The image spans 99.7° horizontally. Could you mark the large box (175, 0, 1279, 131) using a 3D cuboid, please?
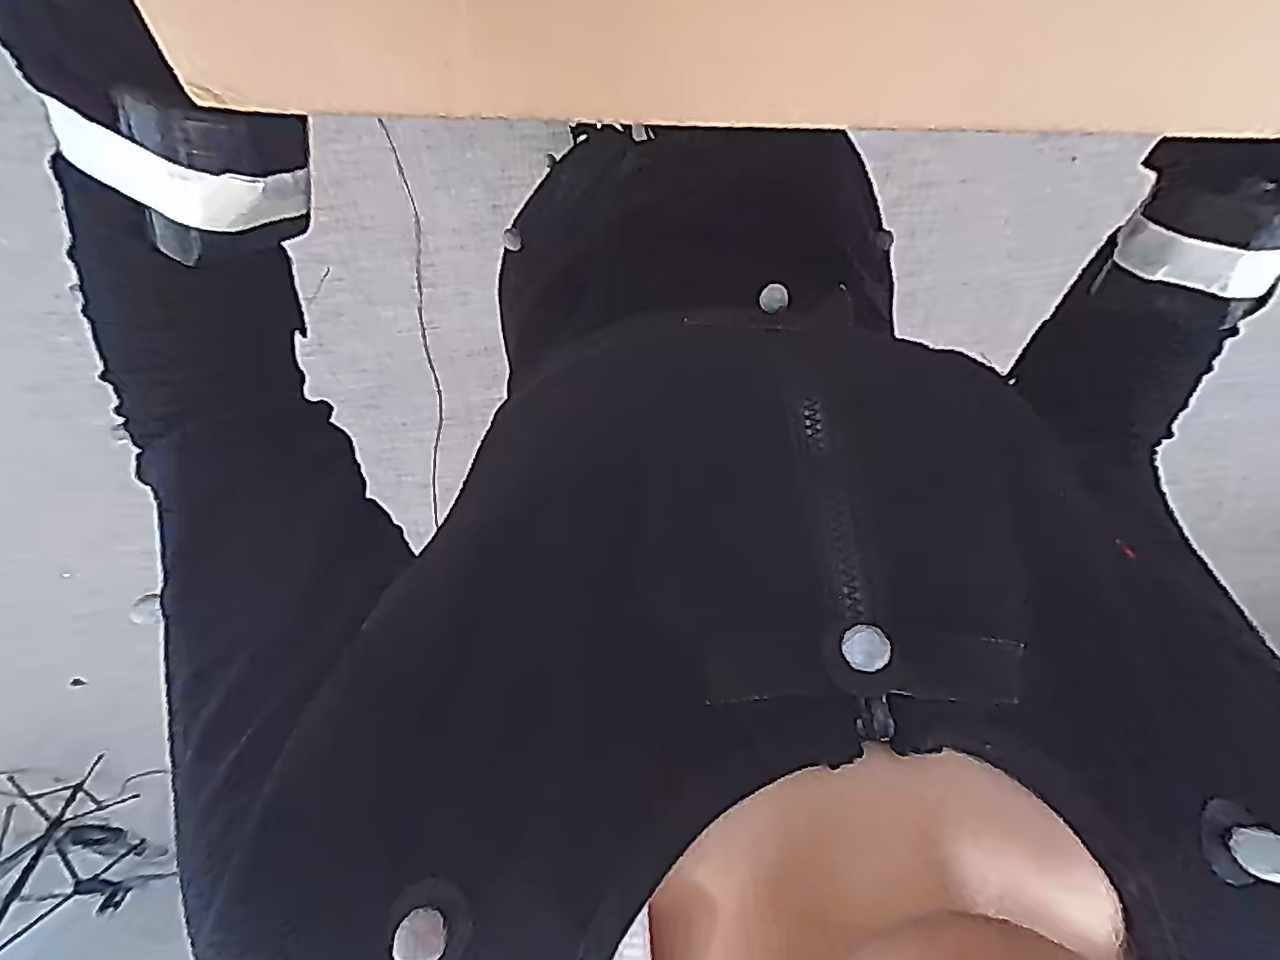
[{"bbox_3d":[0.051,-0.344,0.171,0.408,0.320,0.320,-3,142,-7],"label":"large box"}]
